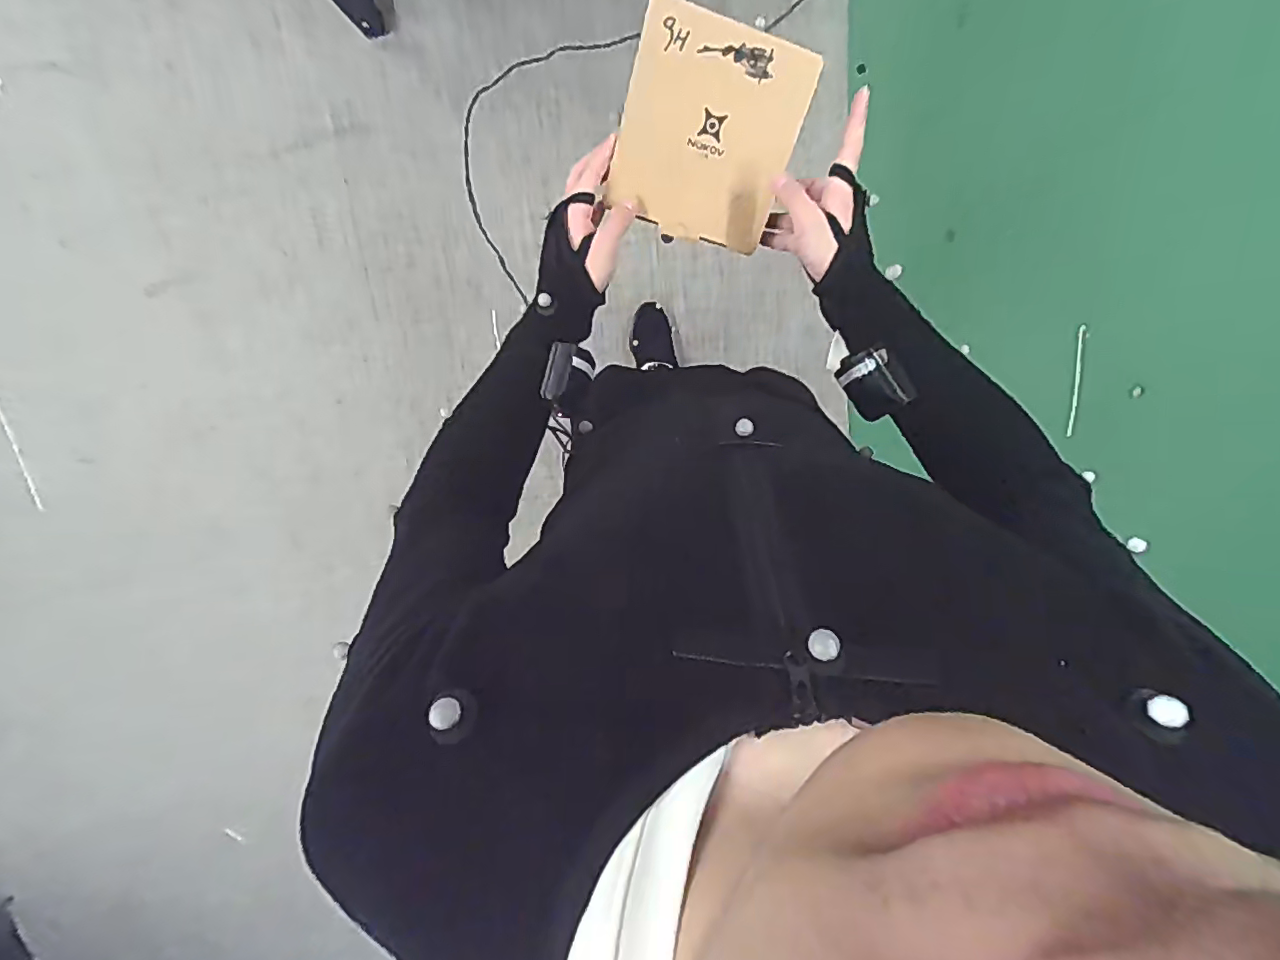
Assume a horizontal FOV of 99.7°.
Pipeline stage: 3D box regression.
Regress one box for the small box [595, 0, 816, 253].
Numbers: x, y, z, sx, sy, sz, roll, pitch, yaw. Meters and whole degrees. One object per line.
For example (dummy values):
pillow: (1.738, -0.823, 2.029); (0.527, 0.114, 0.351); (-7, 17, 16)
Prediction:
small box: (0.056, -0.365, 0.578); (0.168, 0.176, 0.179); (14, 117, -9)
